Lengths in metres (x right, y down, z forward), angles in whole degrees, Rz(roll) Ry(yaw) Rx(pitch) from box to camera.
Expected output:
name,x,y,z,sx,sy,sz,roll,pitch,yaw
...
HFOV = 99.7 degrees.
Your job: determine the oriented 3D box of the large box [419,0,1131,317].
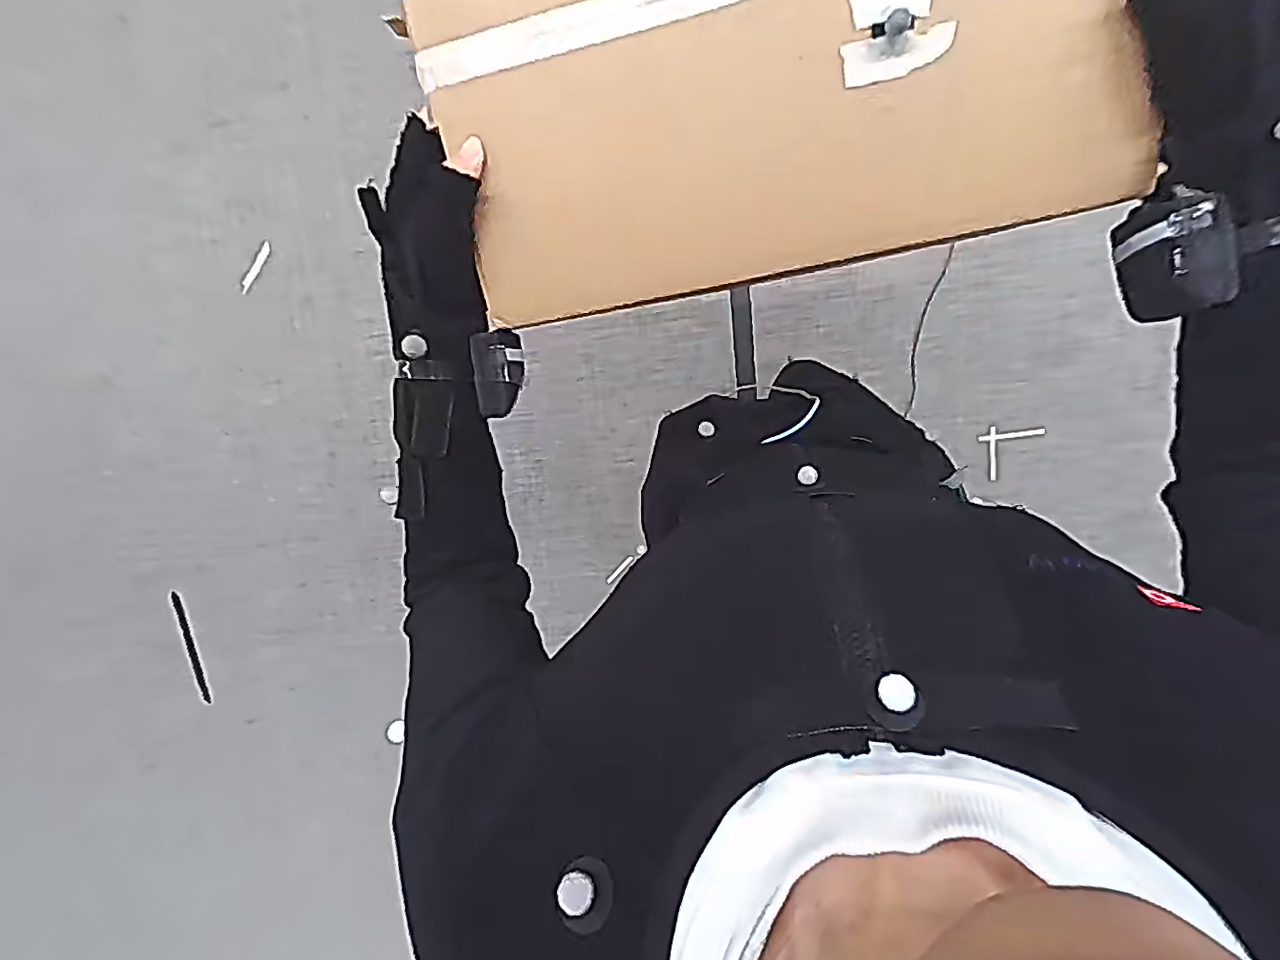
name,x,y,z,sx,sy,sz,roll,pitch,yaw
large box,0.078,-0.338,0.452,0.408,0.320,0.320,-9,108,9
